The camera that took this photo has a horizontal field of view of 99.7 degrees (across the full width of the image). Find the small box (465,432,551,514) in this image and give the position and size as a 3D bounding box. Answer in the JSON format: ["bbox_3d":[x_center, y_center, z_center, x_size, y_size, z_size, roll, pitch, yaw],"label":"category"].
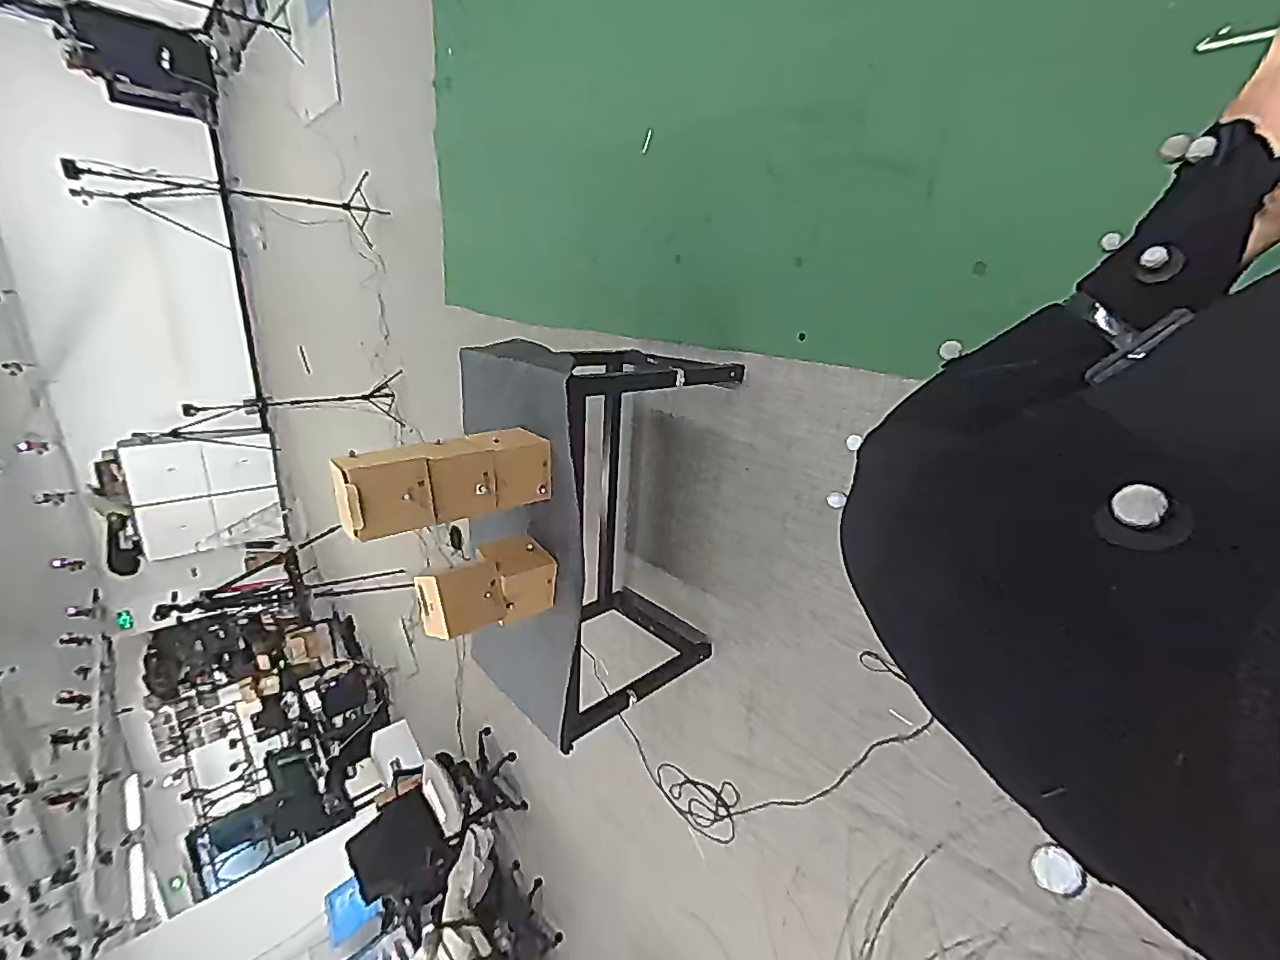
[{"bbox_3d":[-0.352,-0.028,1.459,0.179,0.176,0.168,24,118,45],"label":"small box"}]

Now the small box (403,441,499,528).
[{"bbox_3d":[-0.471,0.004,1.353,0.179,0.176,0.168,18,115,45],"label":"small box"}]

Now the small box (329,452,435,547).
[{"bbox_3d":[-0.590,0.036,1.243,0.179,0.176,0.168,14,113,48],"label":"small box"}]

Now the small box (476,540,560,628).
[{"bbox_3d":[-0.353,0.287,1.553,0.179,0.176,0.168,33,124,40],"label":"small box"}]
